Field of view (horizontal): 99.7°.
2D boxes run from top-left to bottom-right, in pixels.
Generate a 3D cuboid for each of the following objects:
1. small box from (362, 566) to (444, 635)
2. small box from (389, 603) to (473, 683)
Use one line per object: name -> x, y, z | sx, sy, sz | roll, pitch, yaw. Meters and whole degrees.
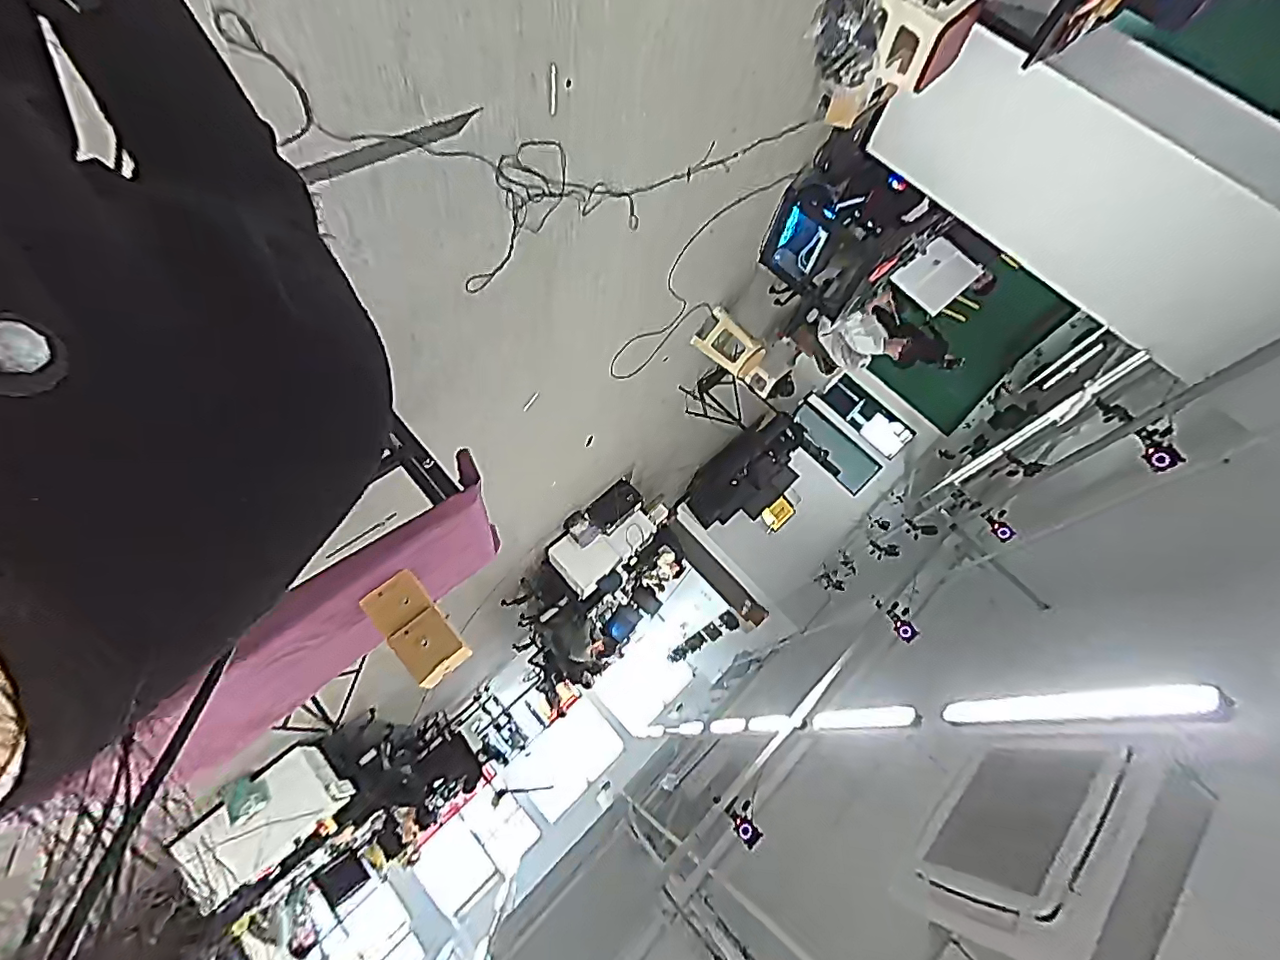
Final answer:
small box -> -0.770, 0.406, 1.761 | 0.168, 0.176, 0.179 | -39, 166, -22
small box -> -0.656, 0.511, 1.701 | 0.168, 0.176, 0.179 | -39, 166, -21
